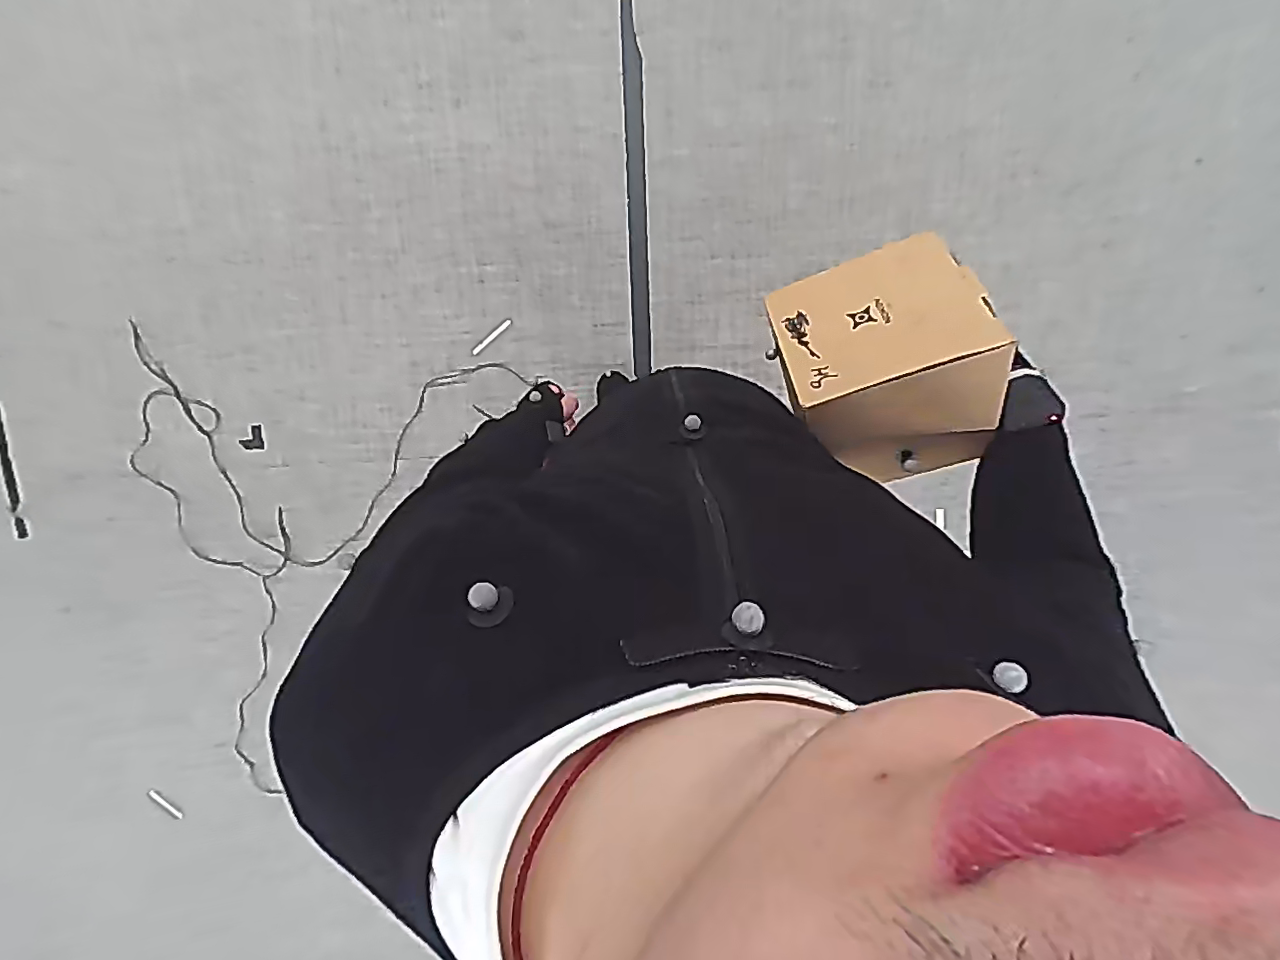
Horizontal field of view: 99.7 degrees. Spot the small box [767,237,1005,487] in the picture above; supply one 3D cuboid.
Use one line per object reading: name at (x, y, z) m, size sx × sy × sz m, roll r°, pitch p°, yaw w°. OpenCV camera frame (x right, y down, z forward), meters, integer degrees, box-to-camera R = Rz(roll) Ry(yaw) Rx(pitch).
small box at (0.252, -0.117, 0.586) m, size 0.179 × 0.168 × 0.176 m, roll -17°, pitch 142°, yaw 15°
